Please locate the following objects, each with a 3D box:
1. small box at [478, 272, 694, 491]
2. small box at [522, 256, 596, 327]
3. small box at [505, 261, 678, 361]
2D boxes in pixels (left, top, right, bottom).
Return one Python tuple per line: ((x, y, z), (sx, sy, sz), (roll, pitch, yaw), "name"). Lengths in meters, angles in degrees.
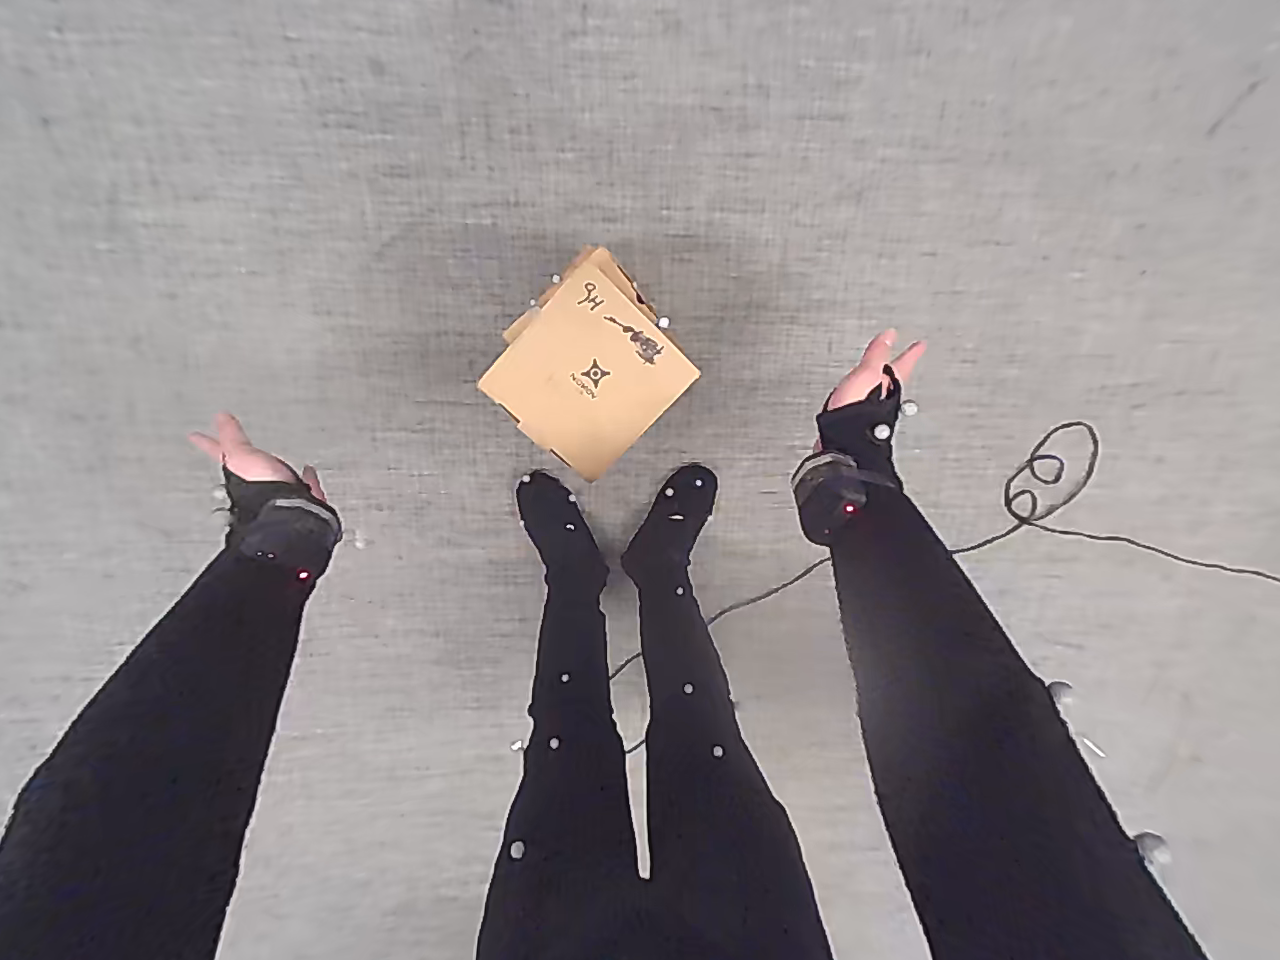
((-0.058, -0.121, 0.650), (0.168, 0.176, 0.179), (43, 102, -15), "small box")
((-0.090, -0.259, 0.947), (0.168, 0.176, 0.179), (42, 100, -15), "small box")
((-0.069, -0.196, 0.796), (0.179, 0.176, 0.168), (-38, 106, 10), "small box")
